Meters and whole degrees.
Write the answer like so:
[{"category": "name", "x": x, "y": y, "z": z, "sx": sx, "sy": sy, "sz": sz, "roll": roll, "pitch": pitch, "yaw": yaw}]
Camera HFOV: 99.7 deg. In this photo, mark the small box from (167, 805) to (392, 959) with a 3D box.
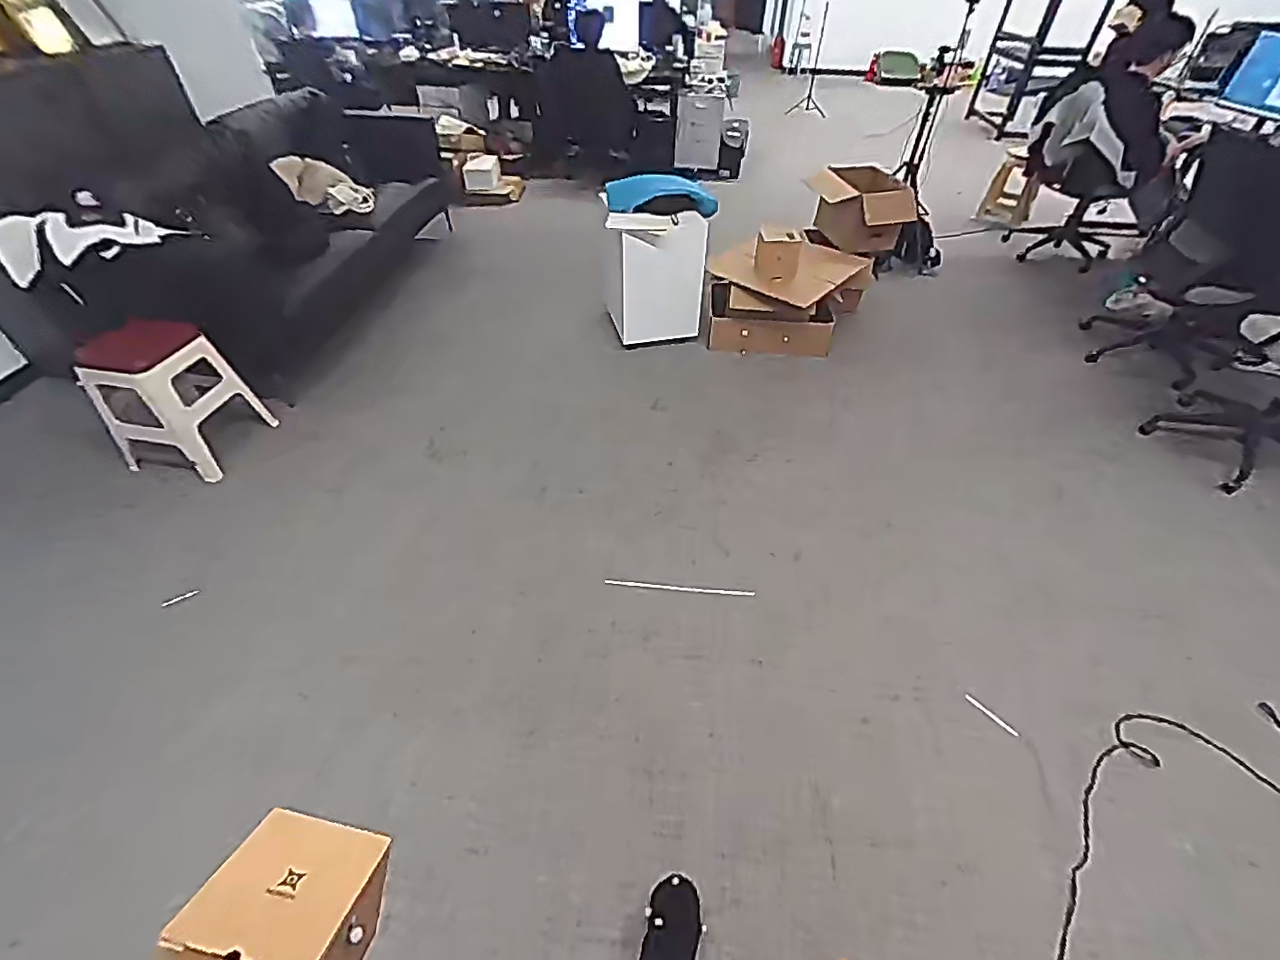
[{"category": "small box", "x": -0.438, "y": 0.555, "z": 0.666, "sx": 0.168, "sy": 0.176, "sz": 0.179, "roll": 15, "pitch": 13, "yaw": 0}]
